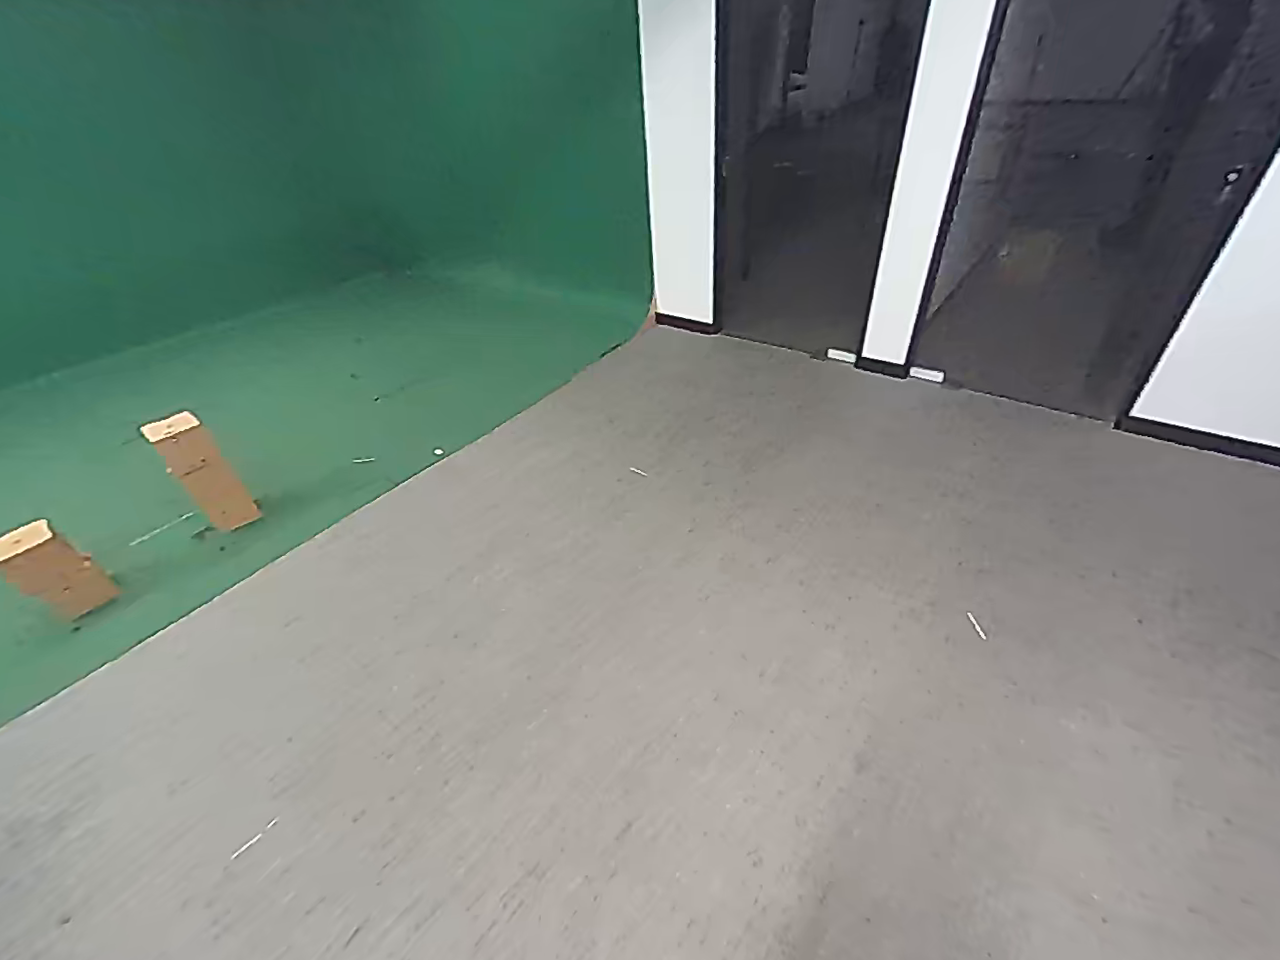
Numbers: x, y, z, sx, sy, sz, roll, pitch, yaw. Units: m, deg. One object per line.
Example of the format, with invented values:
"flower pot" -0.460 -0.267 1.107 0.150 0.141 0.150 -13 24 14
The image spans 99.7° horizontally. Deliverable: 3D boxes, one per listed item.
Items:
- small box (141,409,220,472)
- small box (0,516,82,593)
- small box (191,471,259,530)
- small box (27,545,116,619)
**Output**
"small box" -1.827 -0.155 2.151 0.179 0.176 0.168 26 47 34
"small box" -2.158 0.266 1.919 0.168 0.176 0.179 26 47 31
"small box" -1.812 0.094 2.365 0.168 0.176 0.179 -33 47 -32
"small box" -2.141 0.386 2.028 0.168 0.176 0.179 24 47 29
